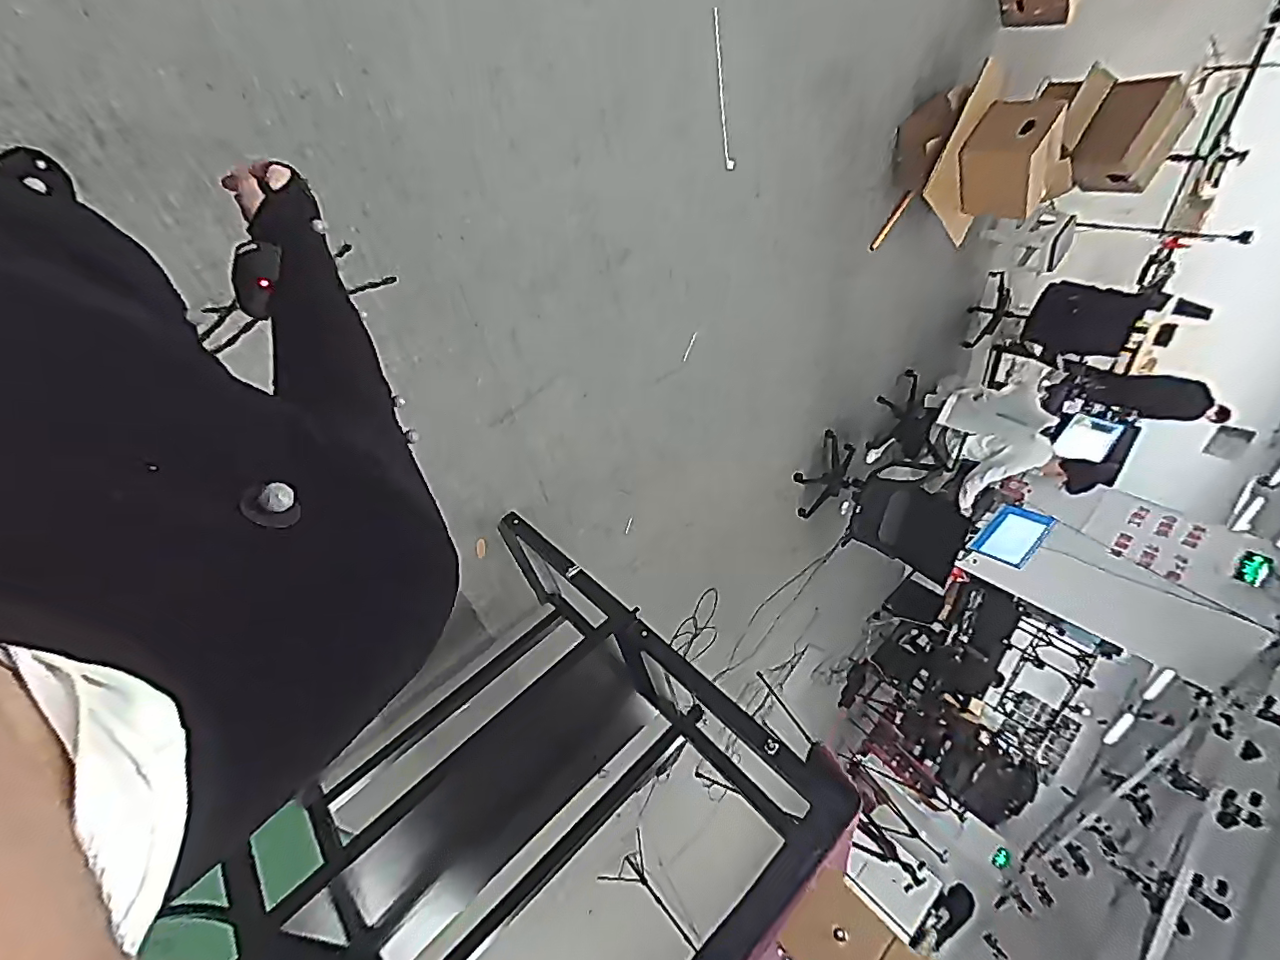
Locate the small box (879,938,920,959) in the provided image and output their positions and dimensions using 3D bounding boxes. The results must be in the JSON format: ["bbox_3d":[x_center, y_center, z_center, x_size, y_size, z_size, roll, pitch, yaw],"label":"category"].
[{"bbox_3d":[0.496,1.011,1.007,0.179,0.176,0.168,-37,136,-23],"label":"small box"}]

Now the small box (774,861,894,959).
[{"bbox_3d":[0.389,0.940,1.110,0.179,0.176,0.168,-39,138,-22],"label":"small box"}]
